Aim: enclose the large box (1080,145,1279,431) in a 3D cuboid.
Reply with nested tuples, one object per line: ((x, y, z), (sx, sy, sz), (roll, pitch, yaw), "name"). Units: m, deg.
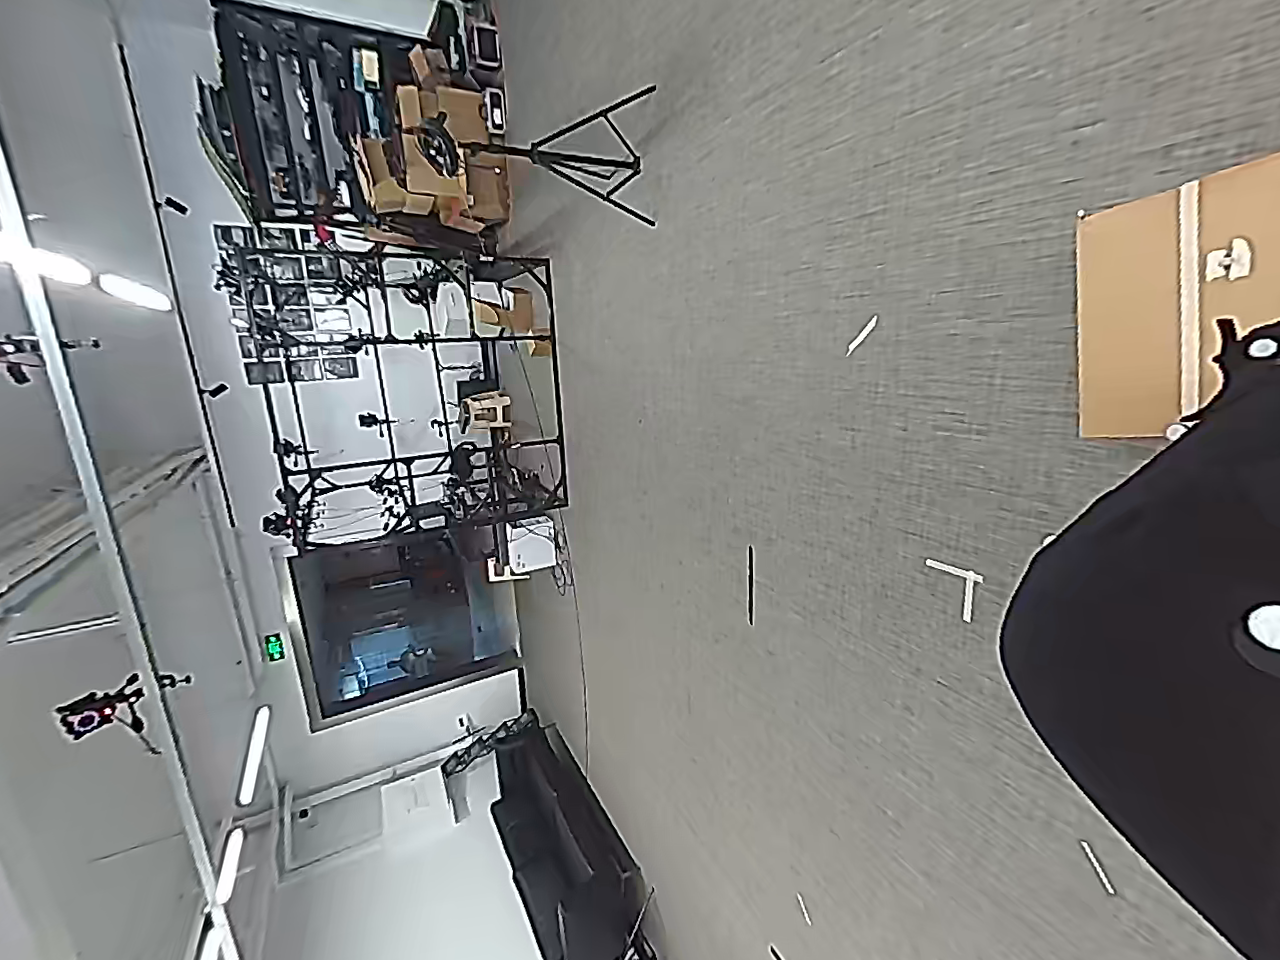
((1.024, -0.303, 0.930), (0.320, 0.320, 0.408), (5, 102, 62), "large box")
